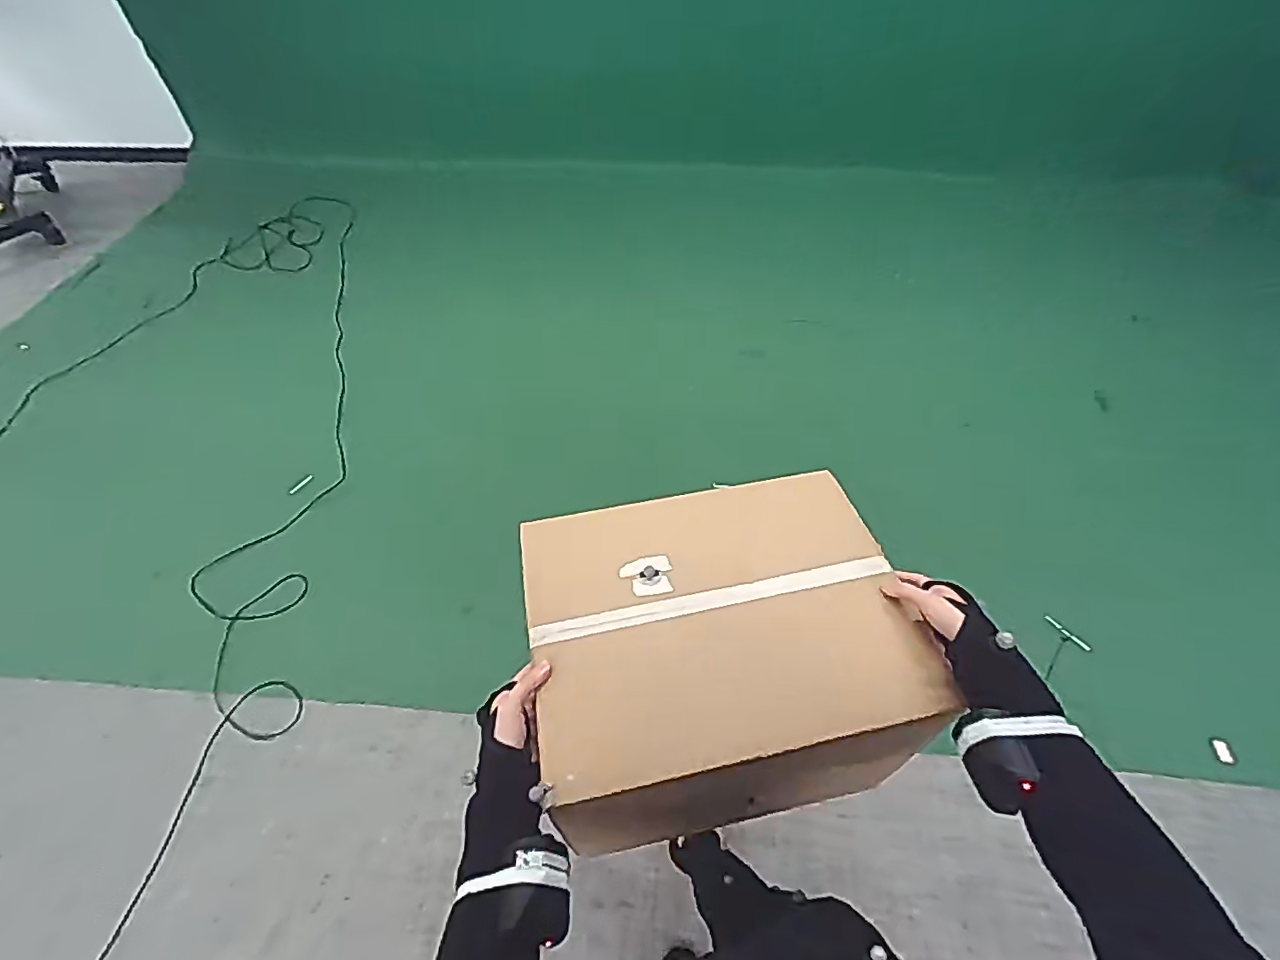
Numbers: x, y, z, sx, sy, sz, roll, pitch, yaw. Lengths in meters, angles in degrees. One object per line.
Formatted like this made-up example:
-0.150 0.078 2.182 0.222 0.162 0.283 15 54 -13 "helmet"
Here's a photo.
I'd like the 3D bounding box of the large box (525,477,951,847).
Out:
0.088 0.239 0.710 0.408 0.320 0.320 -10 48 -6 "large box"
